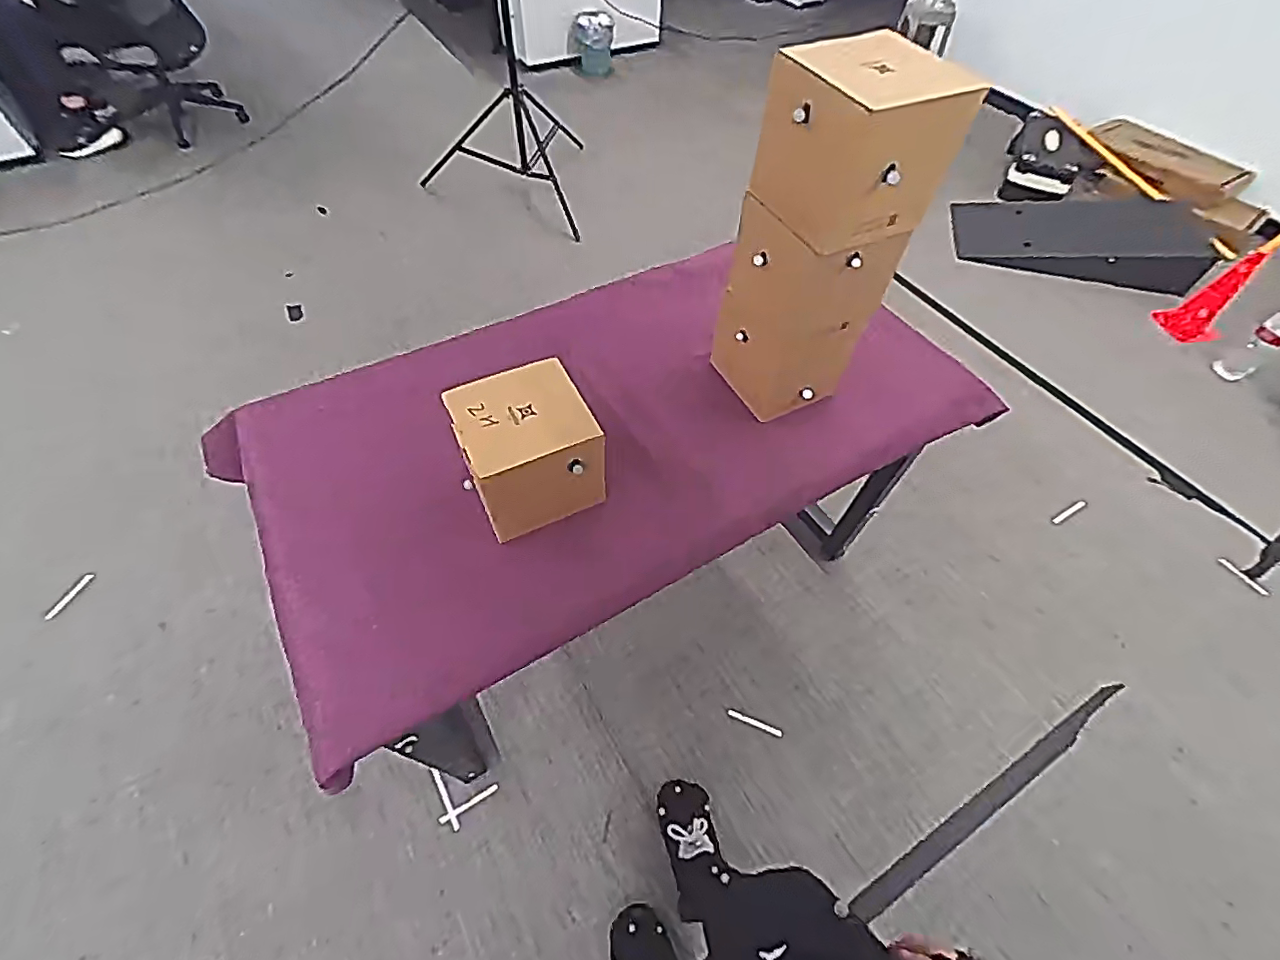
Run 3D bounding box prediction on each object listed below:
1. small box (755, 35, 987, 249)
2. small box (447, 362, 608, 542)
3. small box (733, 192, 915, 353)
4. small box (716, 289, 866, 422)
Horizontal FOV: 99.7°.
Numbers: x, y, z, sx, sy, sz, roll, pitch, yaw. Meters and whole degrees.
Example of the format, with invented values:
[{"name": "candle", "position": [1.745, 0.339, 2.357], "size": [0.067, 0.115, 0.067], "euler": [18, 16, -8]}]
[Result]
[{"name": "small box", "position": [0.267, -0.410, 0.671], "size": [0.168, 0.176, 0.179], "euler": [-21, 59, -15]}, {"name": "small box", "position": [-0.159, -0.039, 0.798], "size": [0.179, 0.176, 0.168], "euler": [-22, 59, -16]}, {"name": "small box", "position": [0.258, -0.322, 0.809], "size": [0.168, 0.176, 0.179], "euler": [-21, 58, -15]}, {"name": "small box", "position": [0.251, -0.233, 0.947], "size": [0.168, 0.176, 0.179], "euler": [-23, 60, -16]}]
